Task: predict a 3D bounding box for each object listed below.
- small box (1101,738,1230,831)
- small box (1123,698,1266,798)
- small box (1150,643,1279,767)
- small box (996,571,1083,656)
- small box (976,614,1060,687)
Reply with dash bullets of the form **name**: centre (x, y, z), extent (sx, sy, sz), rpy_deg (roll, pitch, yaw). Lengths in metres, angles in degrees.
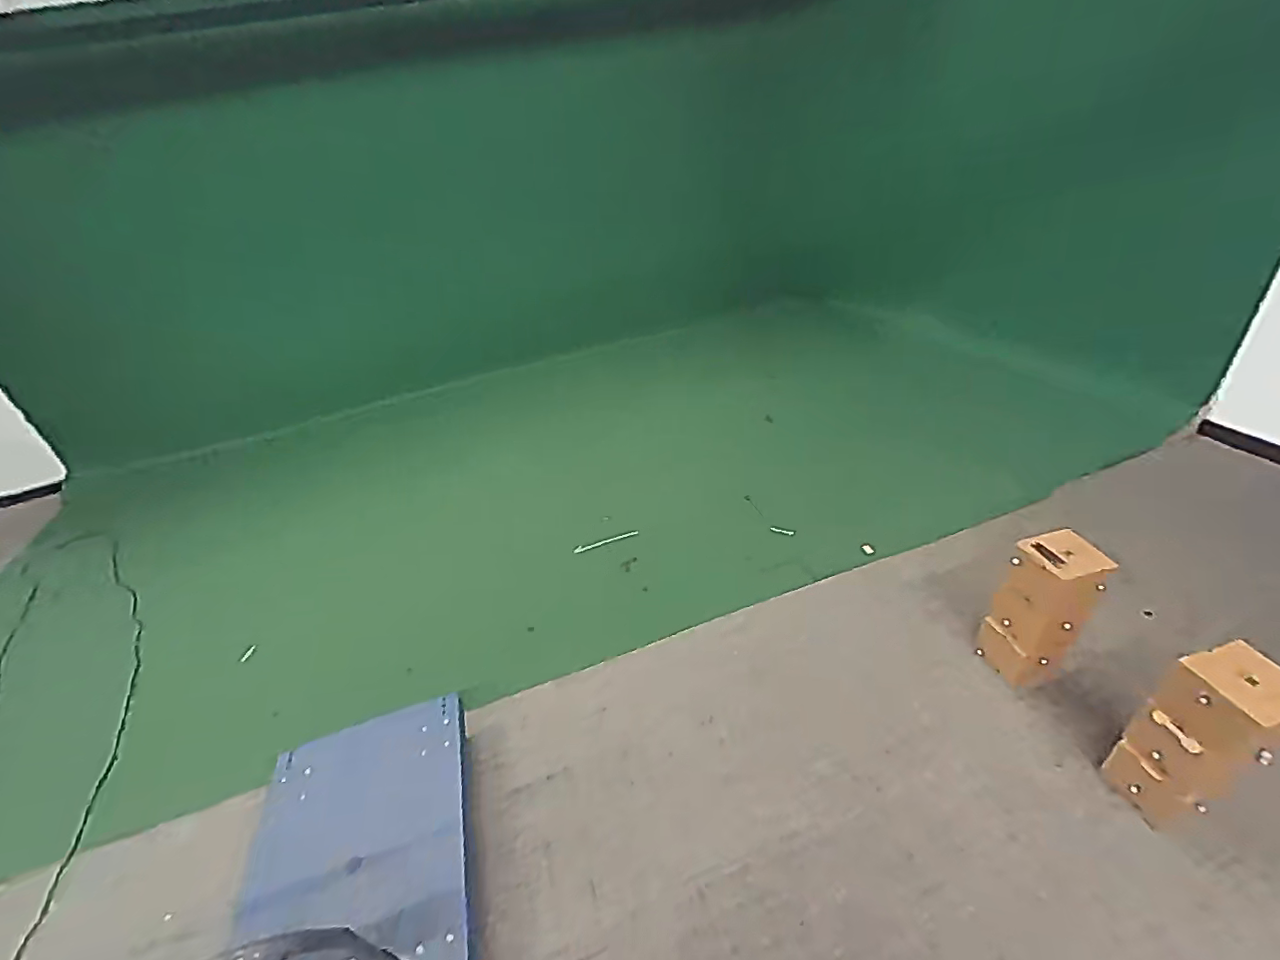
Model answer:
- **small box**: centre (1.348, 0.768, 1.398), extent (0.179, 0.176, 0.168), rpy_deg (-16, 35, -8)
- **small box**: centre (1.336, 0.631, 1.307), extent (0.179, 0.176, 0.168), rpy_deg (-12, 34, -5)
- **small box**: centre (1.315, 0.502, 1.209), extent (0.168, 0.176, 0.179), rpy_deg (-13, 35, -5)
- **small box**: centre (1.224, 0.411, 1.670), extent (0.168, 0.176, 0.179), rpy_deg (4, 36, 21)
- **small box**: centre (1.227, 0.543, 1.753), extent (0.179, 0.176, 0.168), rpy_deg (-13, 35, -7)
